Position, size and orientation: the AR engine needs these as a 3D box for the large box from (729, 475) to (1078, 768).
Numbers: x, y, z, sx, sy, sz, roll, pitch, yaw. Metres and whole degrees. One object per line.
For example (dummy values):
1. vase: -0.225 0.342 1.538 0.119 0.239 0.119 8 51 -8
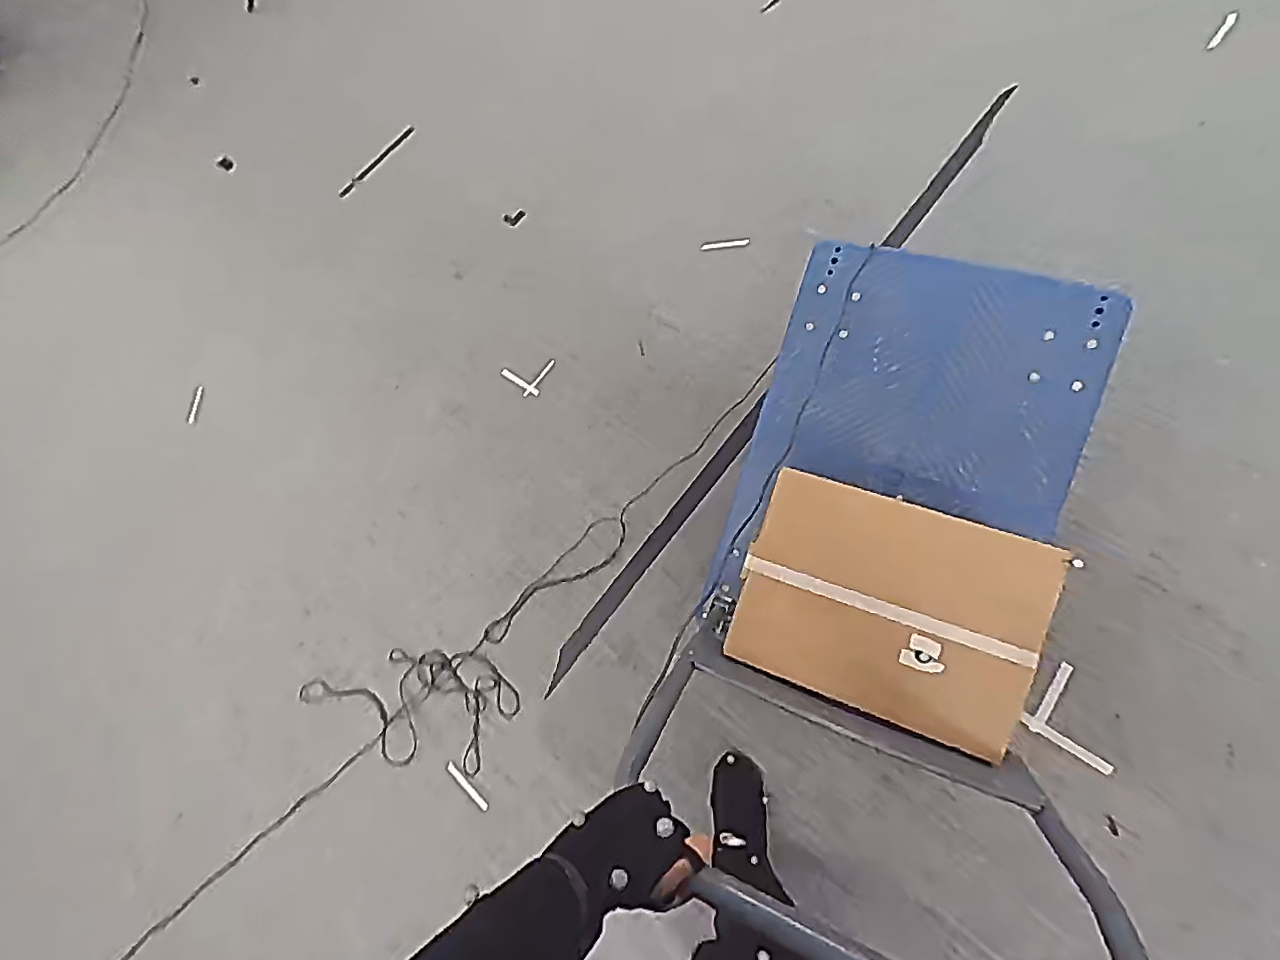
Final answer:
1. large box: 0.397 0.198 0.919 0.408 0.320 0.320 18 93 15
